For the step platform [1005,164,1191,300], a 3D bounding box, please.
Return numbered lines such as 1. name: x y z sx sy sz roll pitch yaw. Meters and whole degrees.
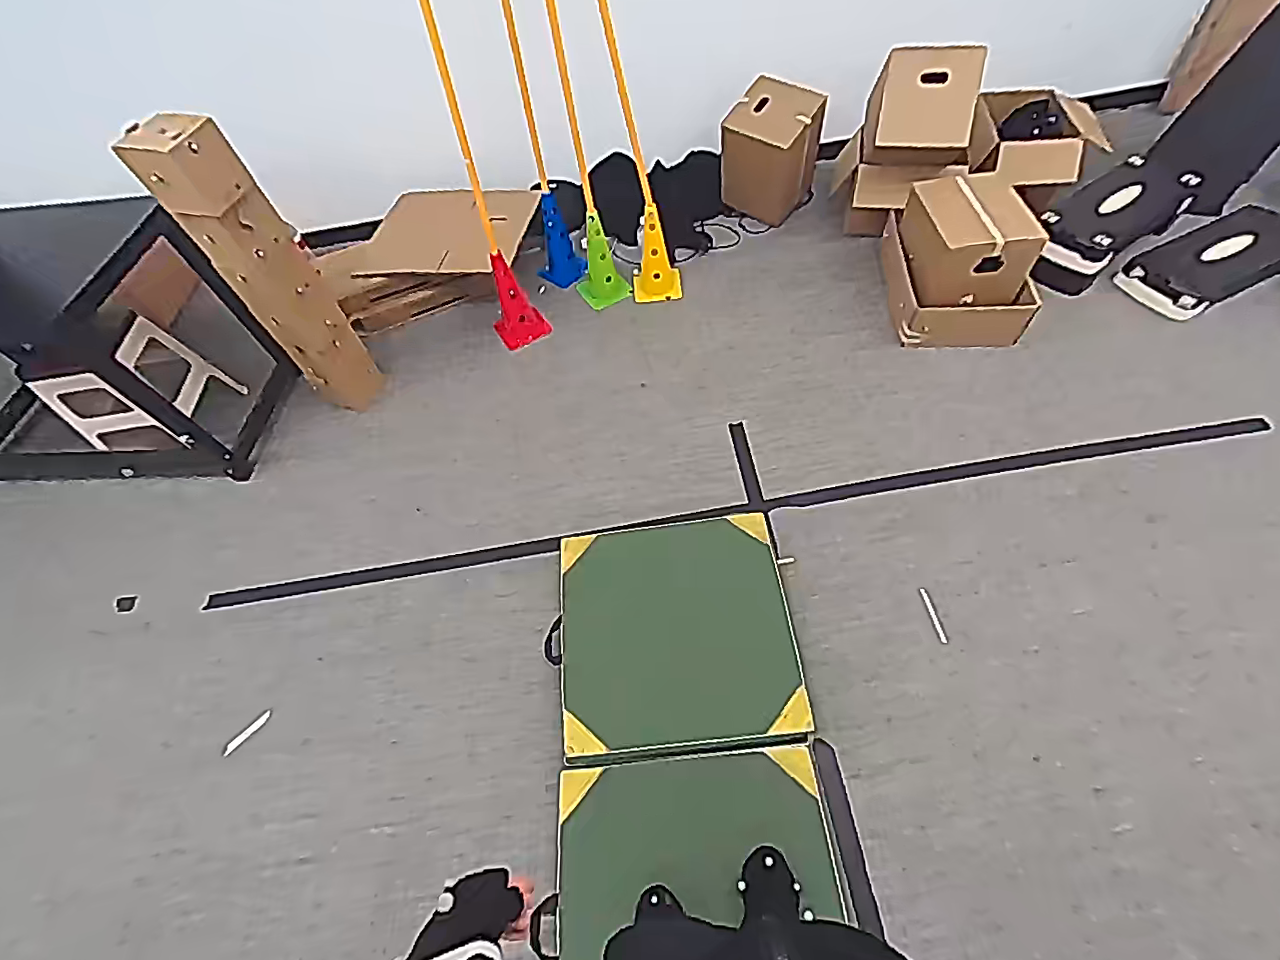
1. step platform: 1.794 -0.983 2.121 0.684 0.204 0.286 -34 59 -14
